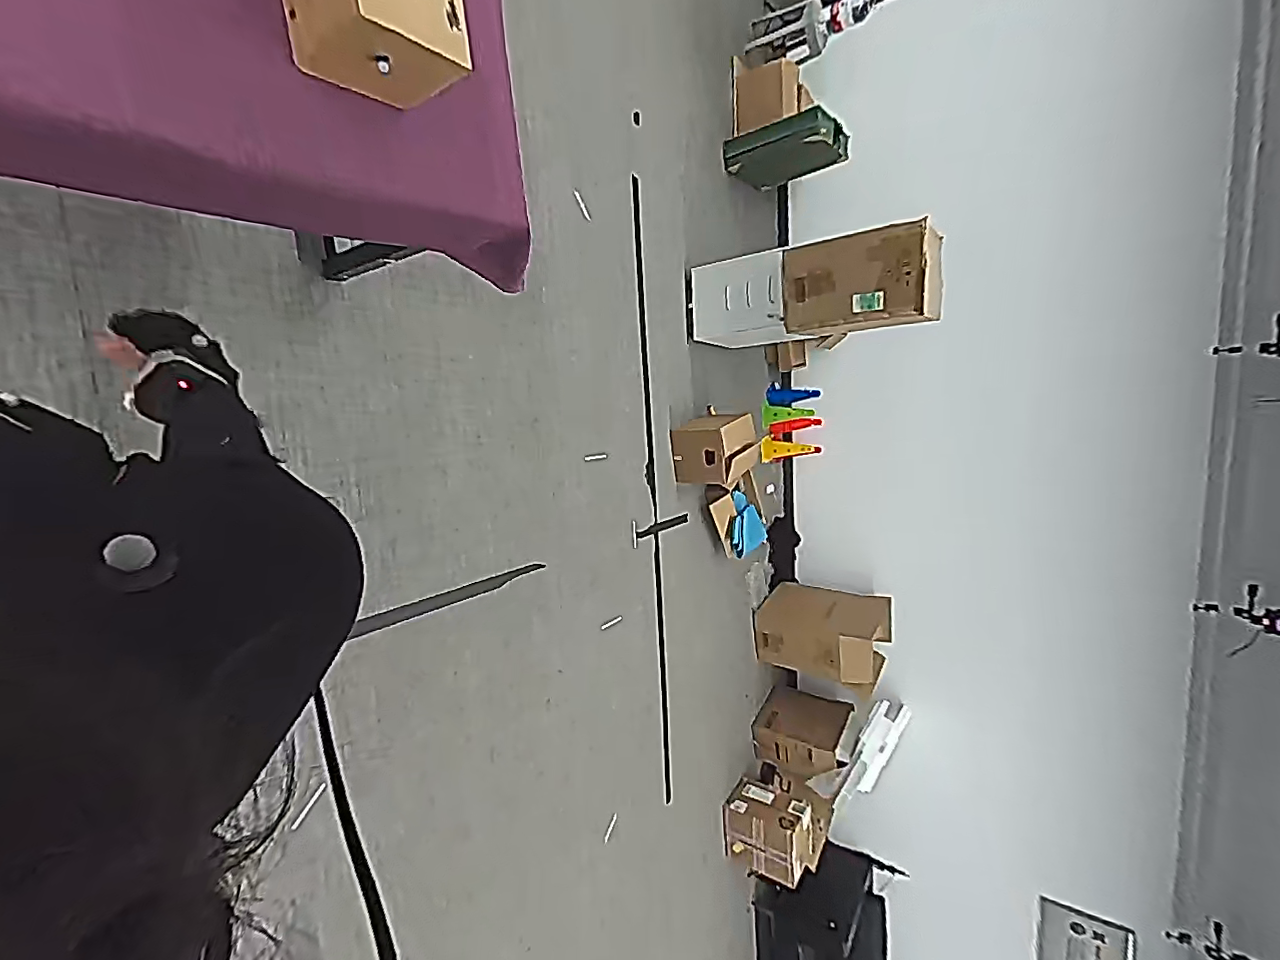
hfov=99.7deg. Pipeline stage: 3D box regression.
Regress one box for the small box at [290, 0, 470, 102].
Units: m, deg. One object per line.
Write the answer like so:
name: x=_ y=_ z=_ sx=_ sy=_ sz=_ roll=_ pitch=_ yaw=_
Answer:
small box: x=-0.371 y=-0.670 z=0.756 sx=0.179 sy=0.176 sz=0.168 roll=-20 pitch=108 yaw=-53
